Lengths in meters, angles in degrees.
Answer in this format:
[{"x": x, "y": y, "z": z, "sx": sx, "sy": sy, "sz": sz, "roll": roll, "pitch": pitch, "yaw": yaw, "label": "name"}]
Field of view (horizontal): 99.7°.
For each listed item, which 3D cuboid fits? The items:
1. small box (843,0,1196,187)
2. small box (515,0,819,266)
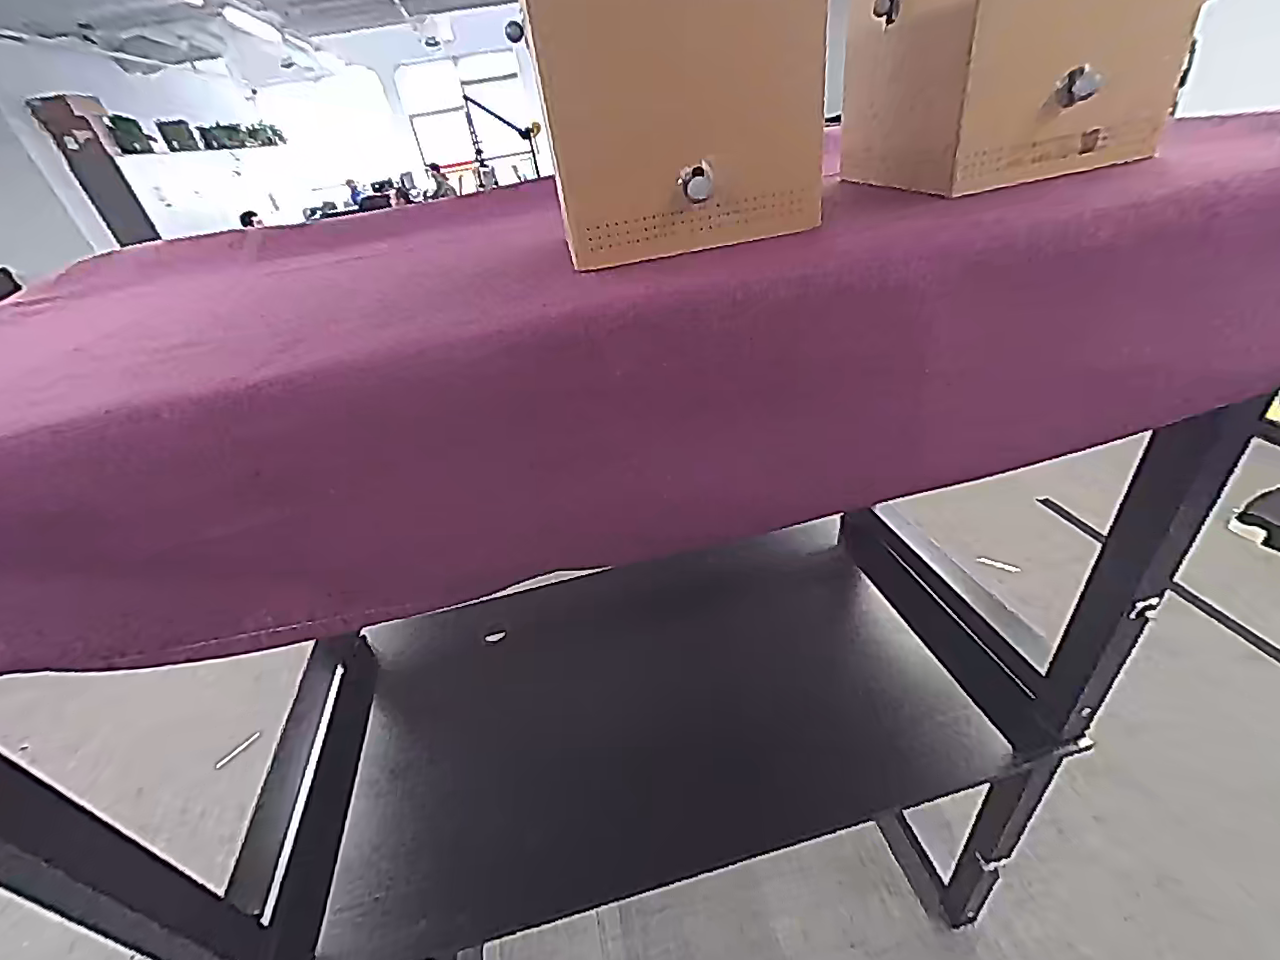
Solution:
[{"x": 0.273, "y": -0.336, "z": 0.421, "sx": 0.168, "sy": 0.176, "sz": 0.179, "roll": -13, "pitch": 34, "yaw": -3, "label": "small box"}, {"x": 0.014, "y": -0.268, "z": 0.391, "sx": 0.179, "sy": 0.176, "sz": 0.168, "roll": -11, "pitch": 33, "yaw": -3, "label": "small box"}]
